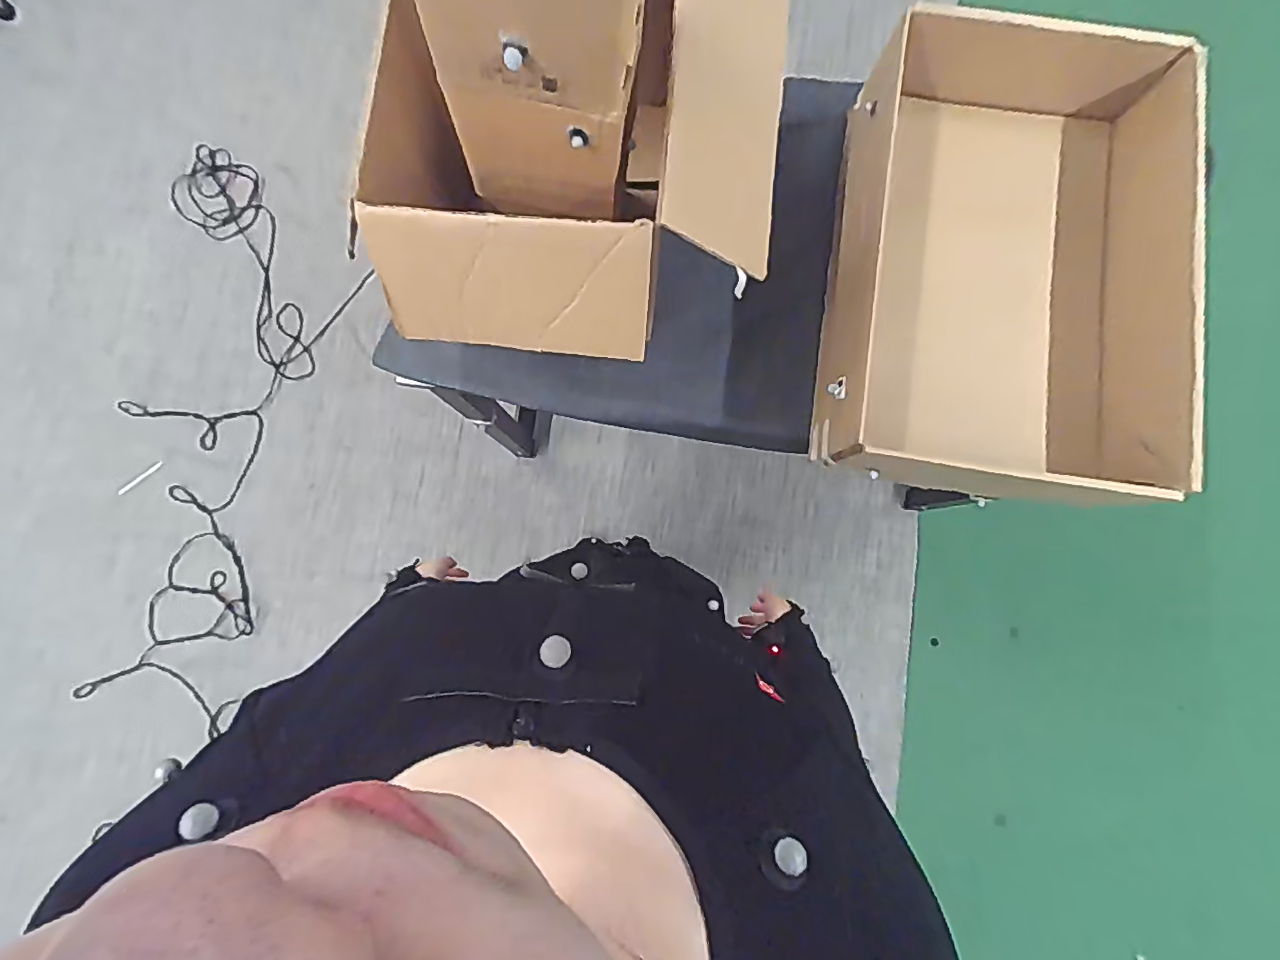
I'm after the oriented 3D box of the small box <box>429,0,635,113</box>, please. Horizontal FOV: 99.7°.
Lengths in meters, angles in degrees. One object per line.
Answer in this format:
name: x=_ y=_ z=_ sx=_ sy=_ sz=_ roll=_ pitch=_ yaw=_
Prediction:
small box: x=-0.084 y=-0.453 z=0.441 sx=0.168 sy=0.176 sz=0.179 roll=7 pitch=82 yaw=-4
